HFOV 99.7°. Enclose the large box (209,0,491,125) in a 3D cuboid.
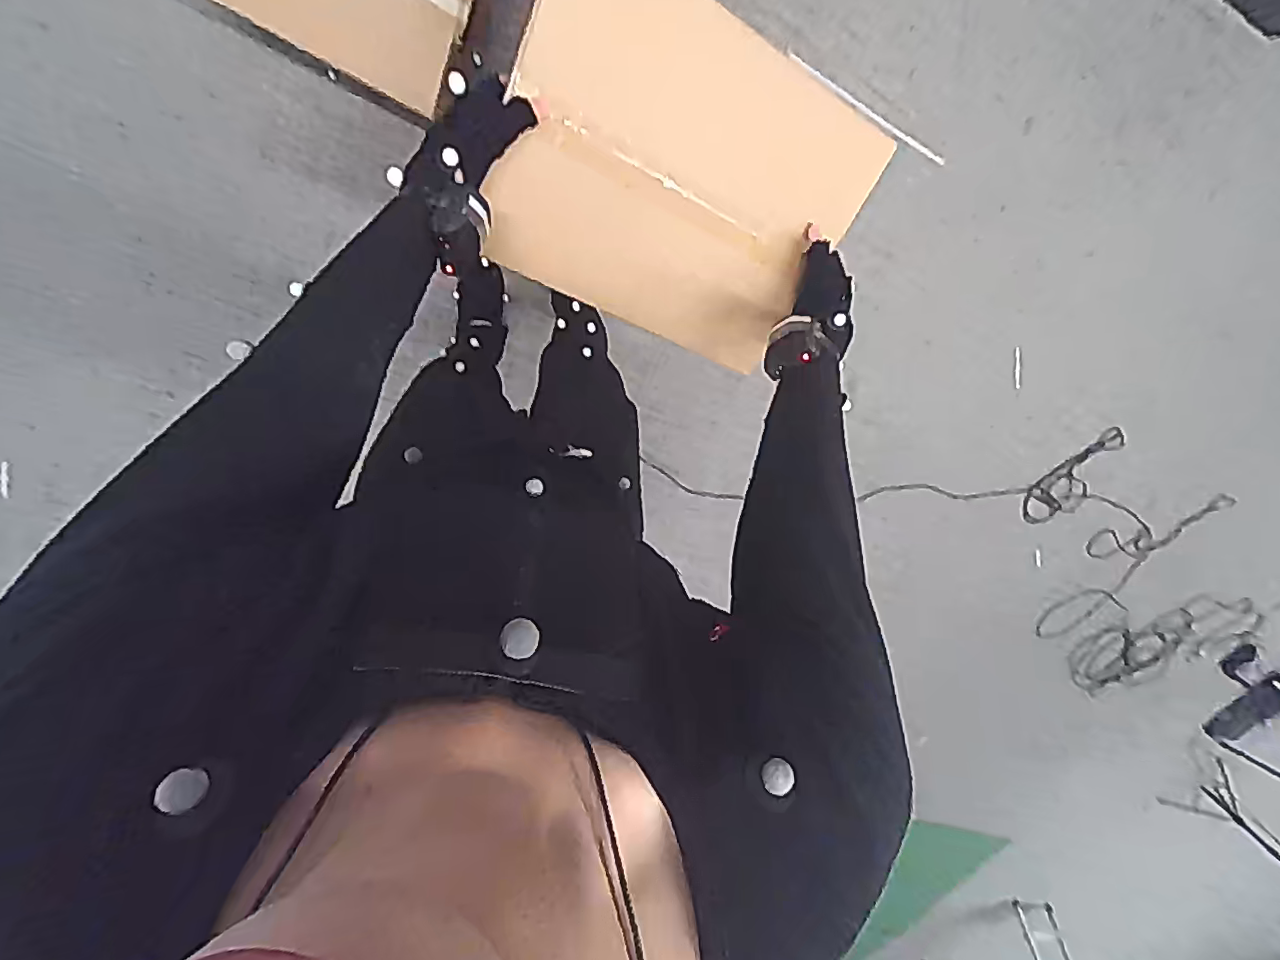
[{"bbox_3d":[-0.478,-0.857,0.891,0.408,0.320,0.320,21,113,-20],"label":"large box"}]
